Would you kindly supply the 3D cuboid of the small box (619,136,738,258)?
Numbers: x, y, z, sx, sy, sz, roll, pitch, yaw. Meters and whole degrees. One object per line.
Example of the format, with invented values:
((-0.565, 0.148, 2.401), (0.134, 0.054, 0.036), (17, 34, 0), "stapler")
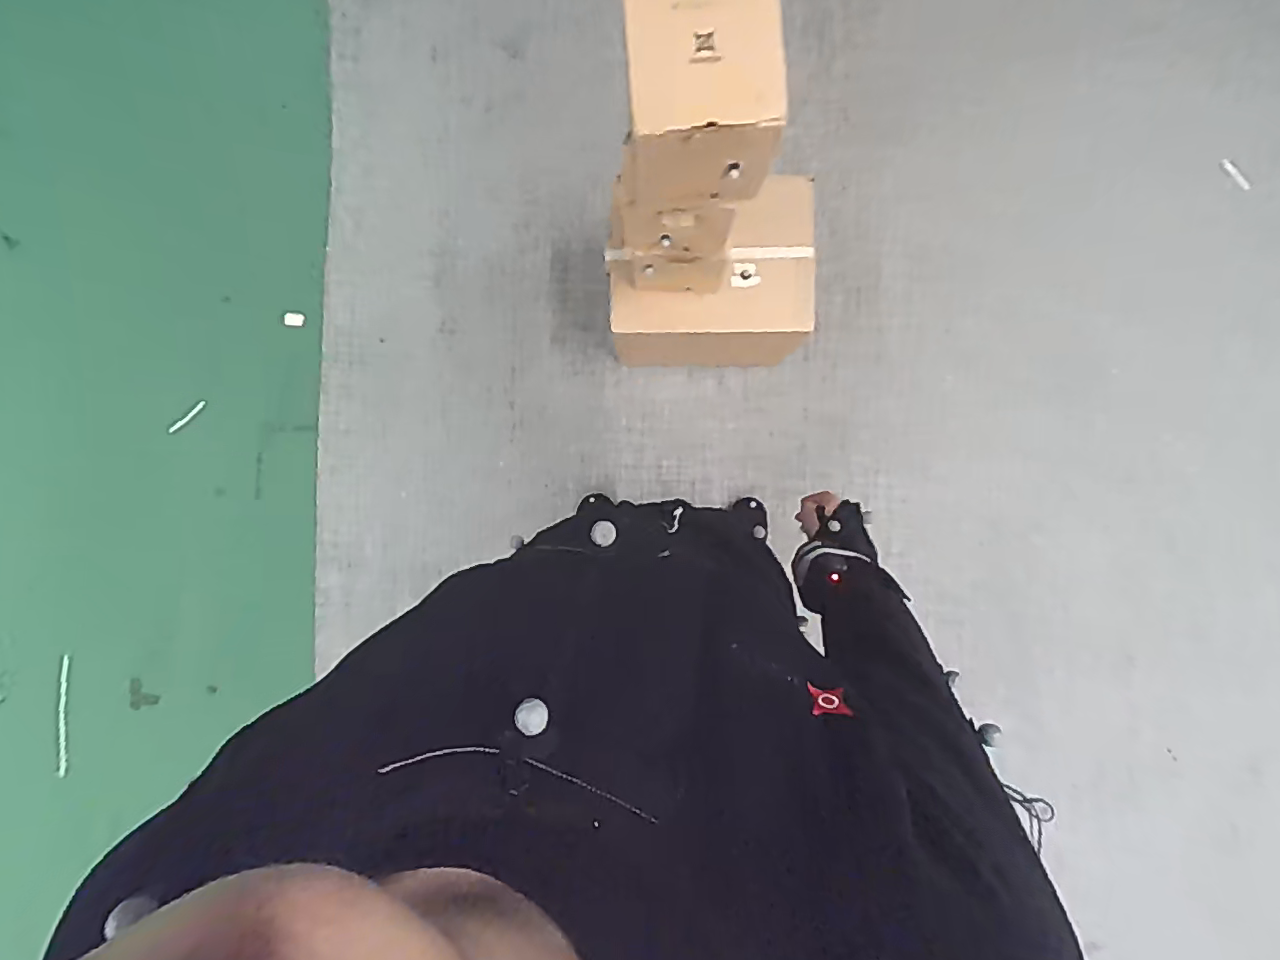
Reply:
((0.059, -0.459, 0.808), (0.168, 0.176, 0.179), (5, 90, 0), "small box")

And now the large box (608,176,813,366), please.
((0.138, -0.444, 1.214), (0.408, 0.320, 0.320), (0, 91, 0), "large box")

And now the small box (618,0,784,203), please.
((0.065, -0.453, 0.646), (0.168, 0.176, 0.179), (-5, 90, -1), "small box")
